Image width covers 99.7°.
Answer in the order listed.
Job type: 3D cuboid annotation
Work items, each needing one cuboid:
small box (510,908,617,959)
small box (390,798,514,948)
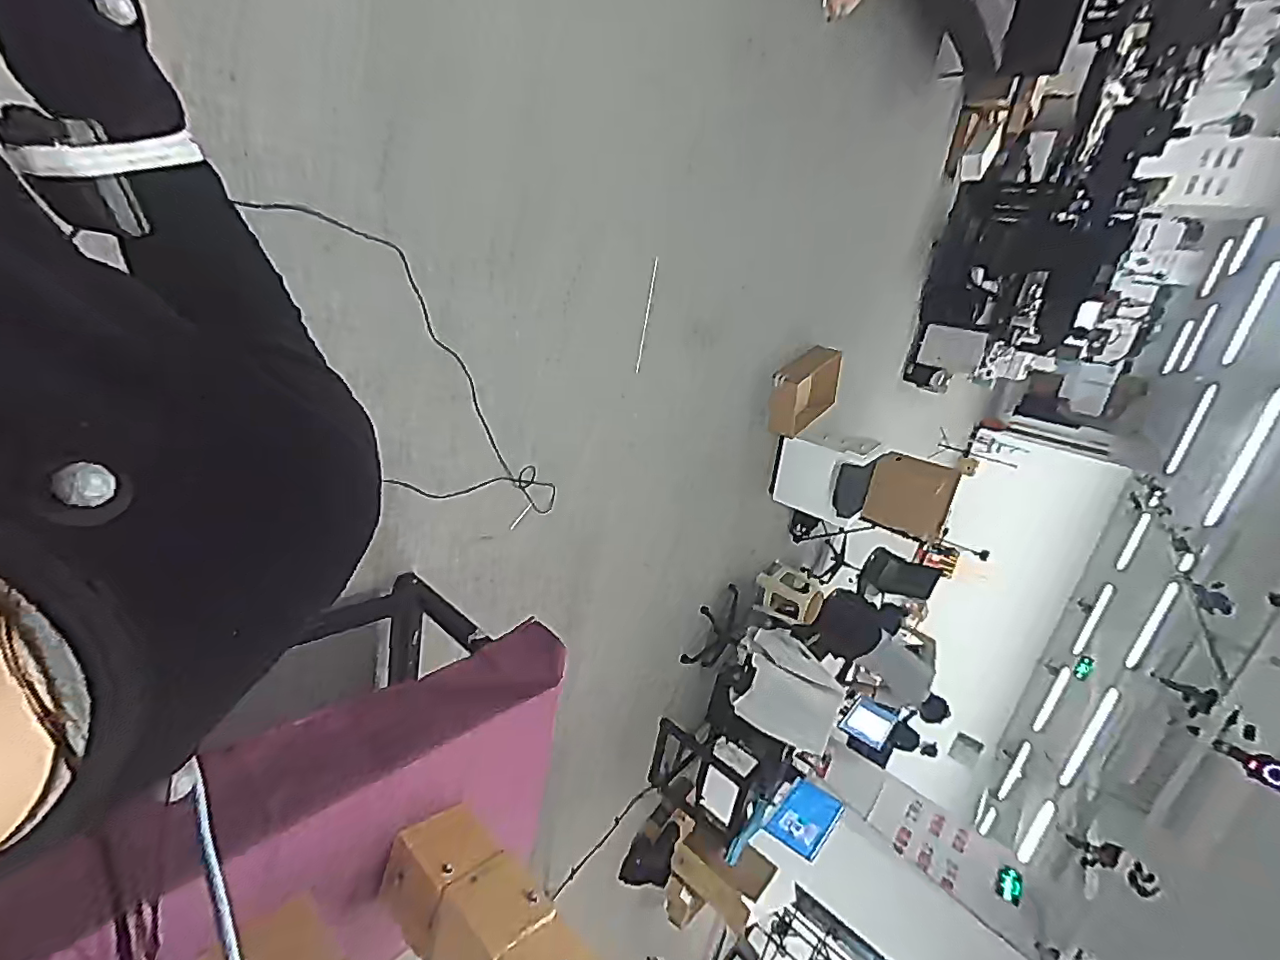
[{"bbox_3d":[-0.163,0.968,1.011,0.179,0.176,0.168,18,96,-55],"label":"small box"},{"bbox_3d":[-0.413,0.845,1.187,0.179,0.176,0.168,6,105,-53],"label":"small box"}]
